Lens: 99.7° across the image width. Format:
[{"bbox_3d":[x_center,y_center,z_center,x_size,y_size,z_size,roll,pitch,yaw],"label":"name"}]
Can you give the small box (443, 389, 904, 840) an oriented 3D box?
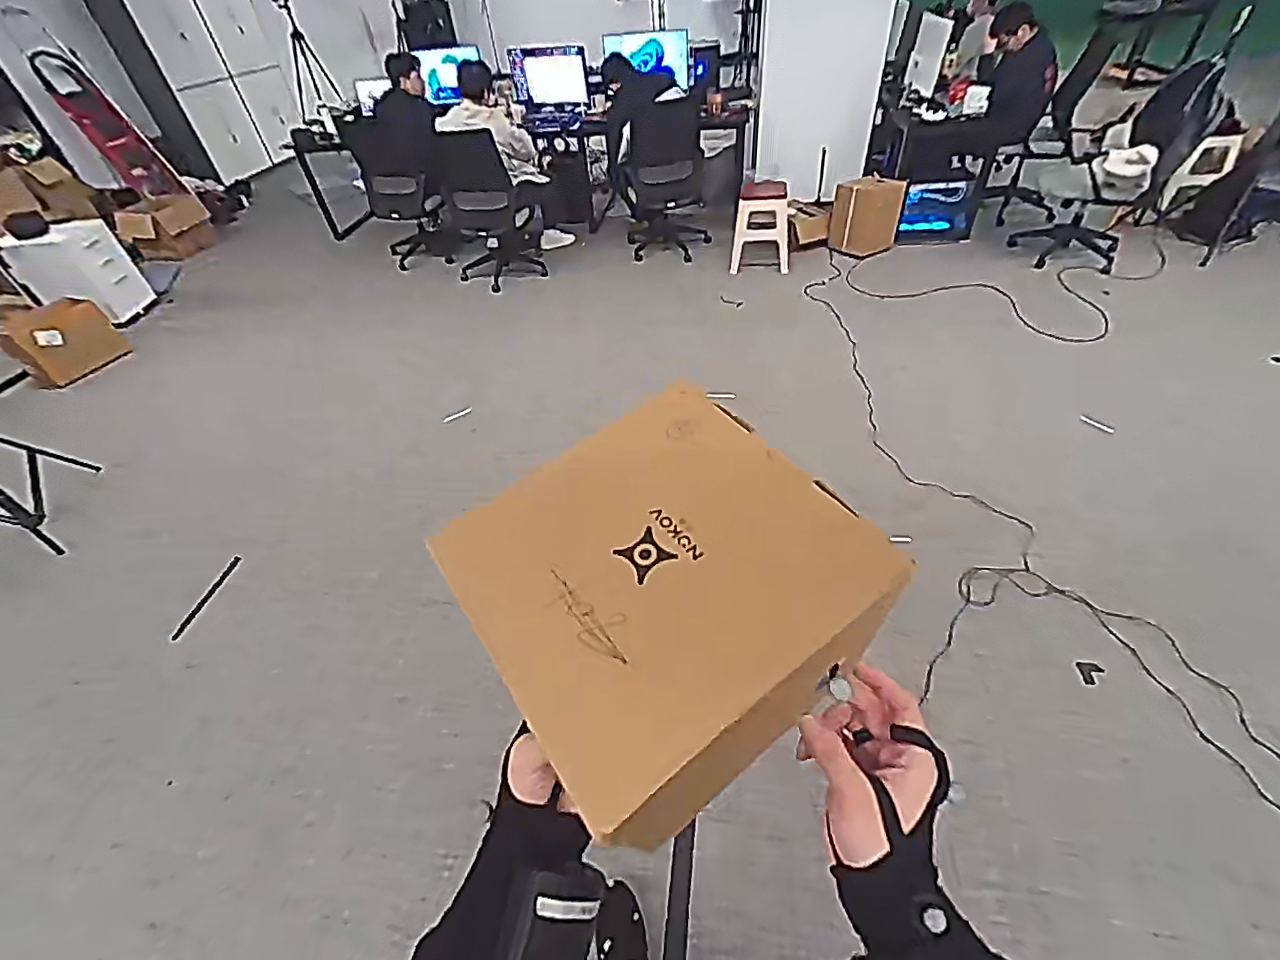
[{"bbox_3d":[0.019,0.084,0.334,0.179,0.176,0.168,-35,56,-15],"label":"small box"}]
